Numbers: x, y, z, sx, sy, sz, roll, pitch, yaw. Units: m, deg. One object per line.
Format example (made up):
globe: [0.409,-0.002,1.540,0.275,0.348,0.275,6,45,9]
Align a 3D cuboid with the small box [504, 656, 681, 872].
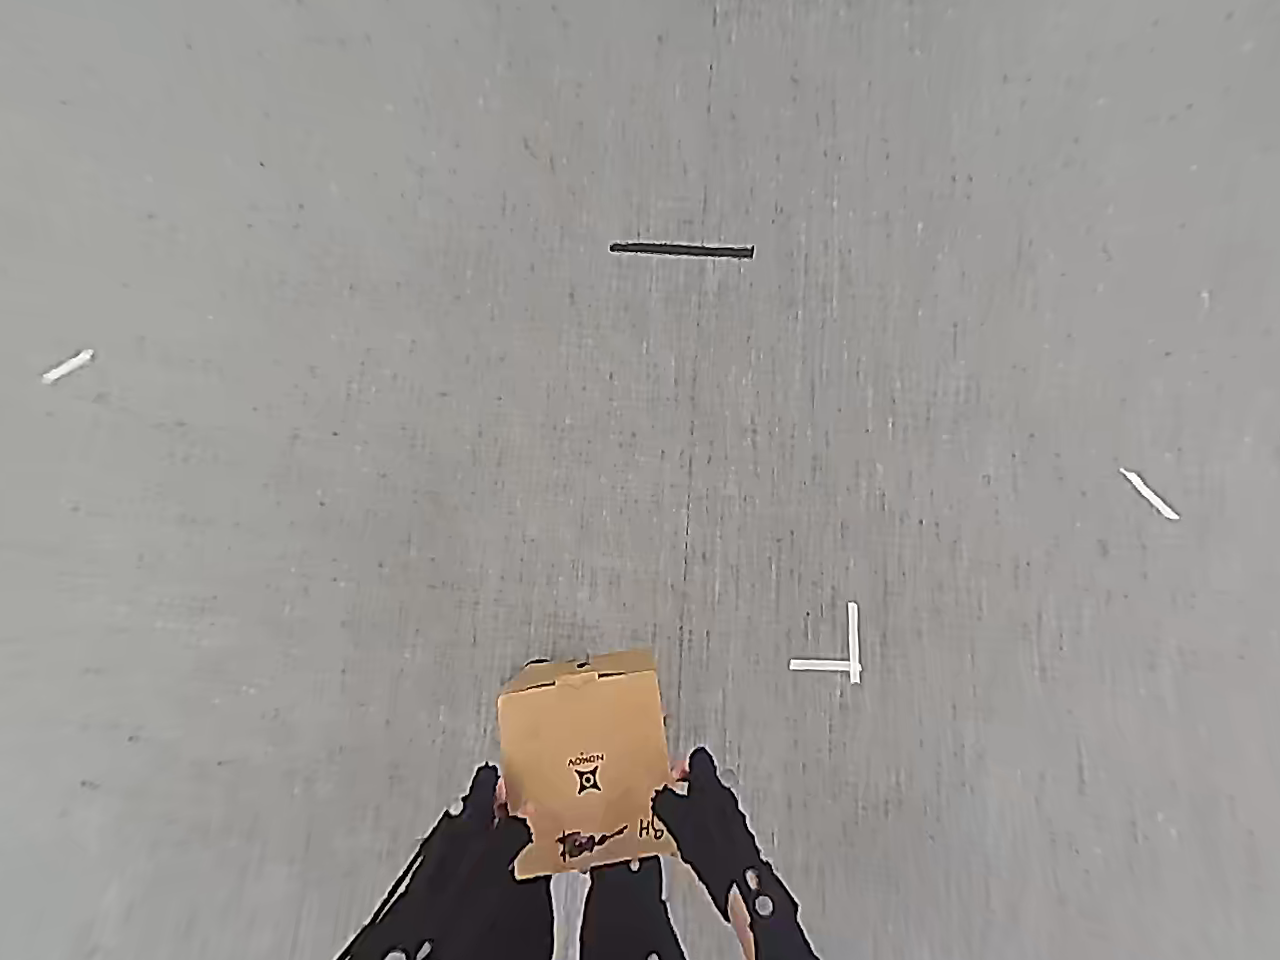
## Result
small box: [-0.054,0.305,0.624,0.168,0.176,0.179,-8,78,-3]
